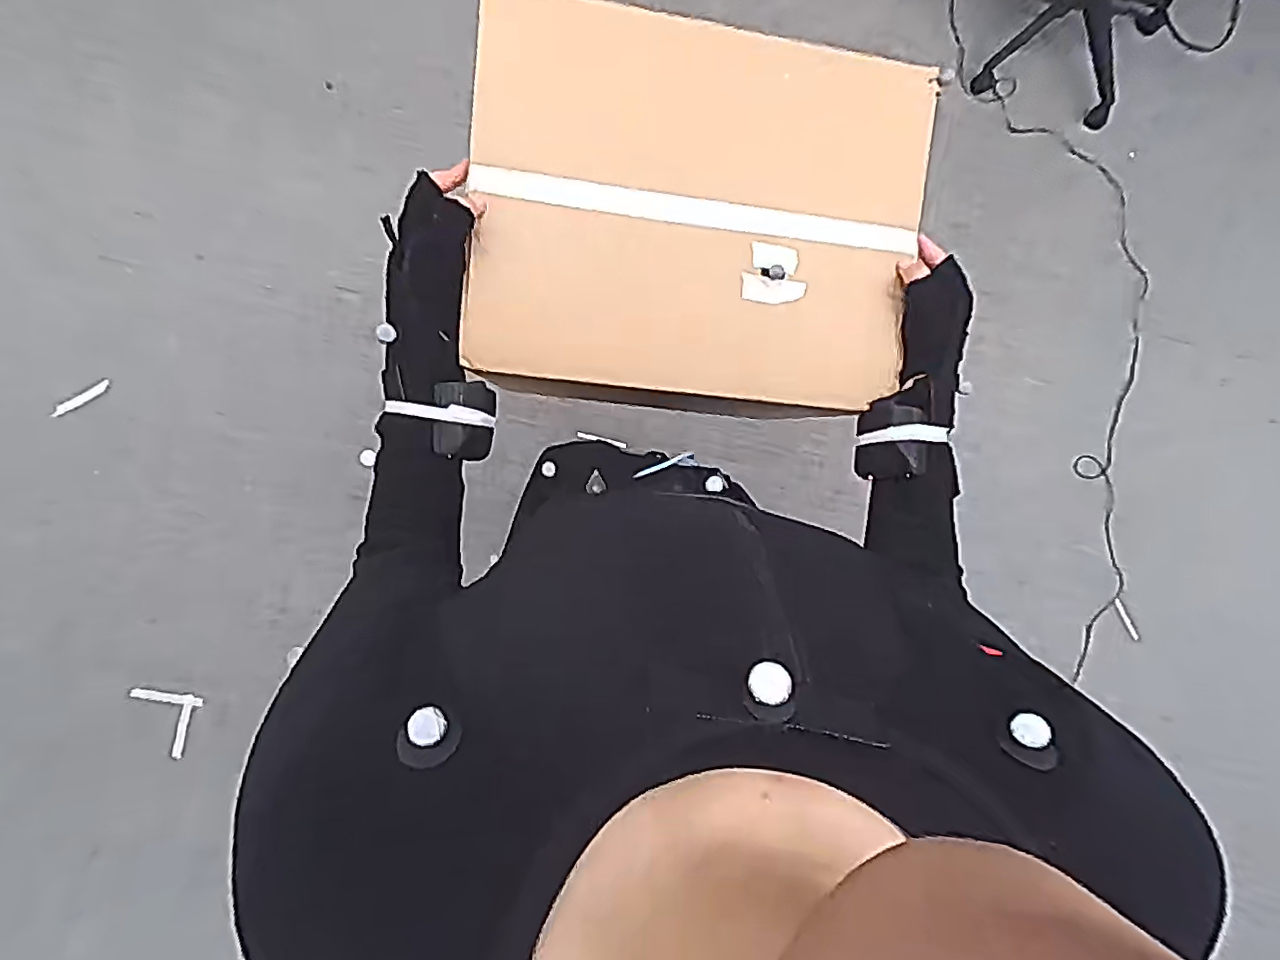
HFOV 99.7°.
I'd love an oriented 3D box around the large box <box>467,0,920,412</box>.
[{"bbox_3d":[0.033,-0.252,0.635,0.408,0.320,0.320,5,96,-9],"label":"large box"}]
